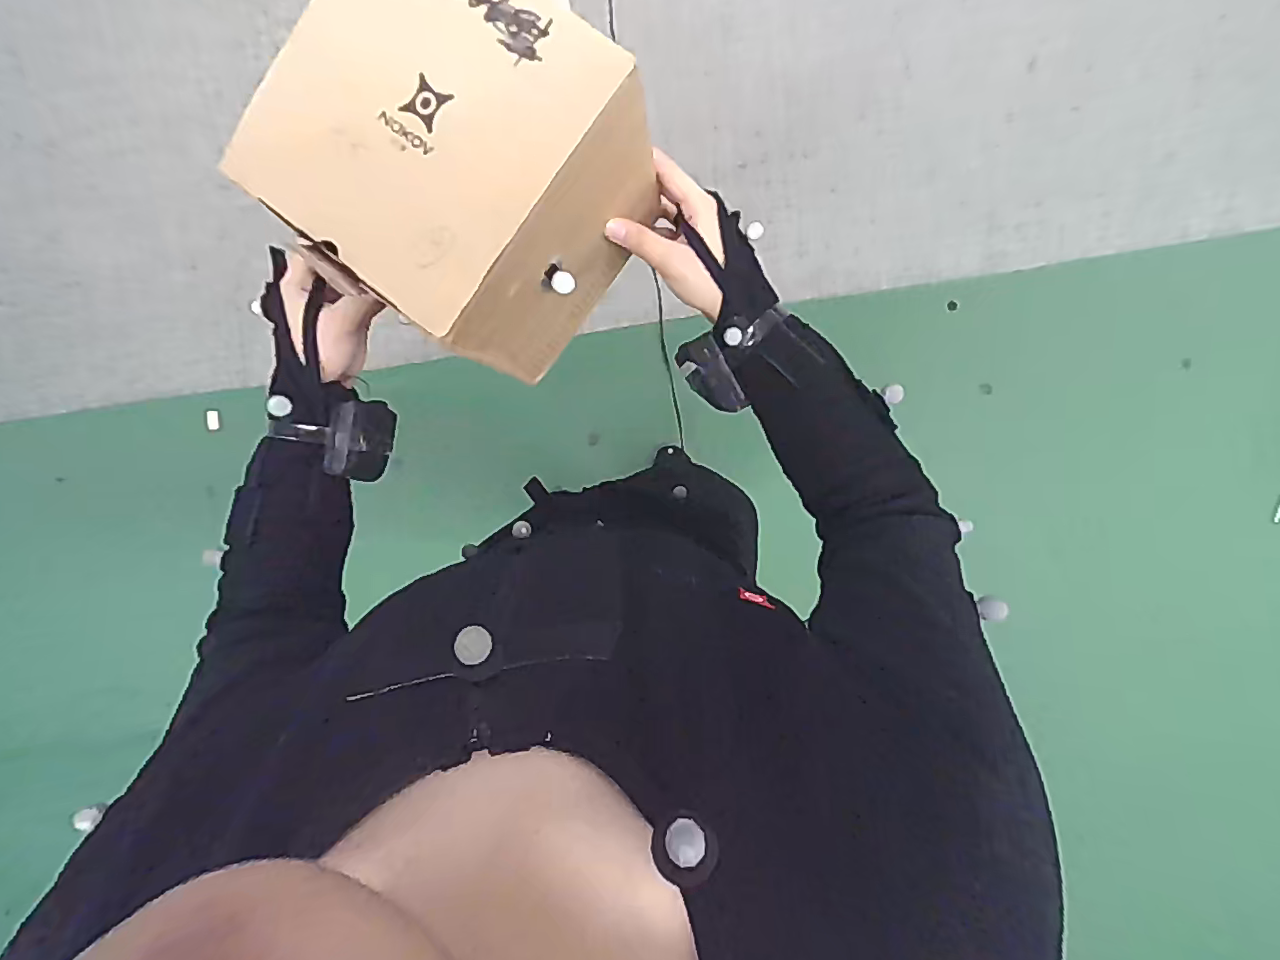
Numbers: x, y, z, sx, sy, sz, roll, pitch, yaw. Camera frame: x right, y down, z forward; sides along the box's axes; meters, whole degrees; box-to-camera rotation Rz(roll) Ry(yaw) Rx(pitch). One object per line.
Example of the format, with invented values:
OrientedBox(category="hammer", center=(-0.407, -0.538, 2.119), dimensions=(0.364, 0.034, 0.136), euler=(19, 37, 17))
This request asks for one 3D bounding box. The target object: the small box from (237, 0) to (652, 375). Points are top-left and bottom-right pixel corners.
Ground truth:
OrientedBox(category="small box", center=(-0.106, -0.193, 0.370), dimensions=(0.168, 0.176, 0.179), euler=(38, 97, 4))
